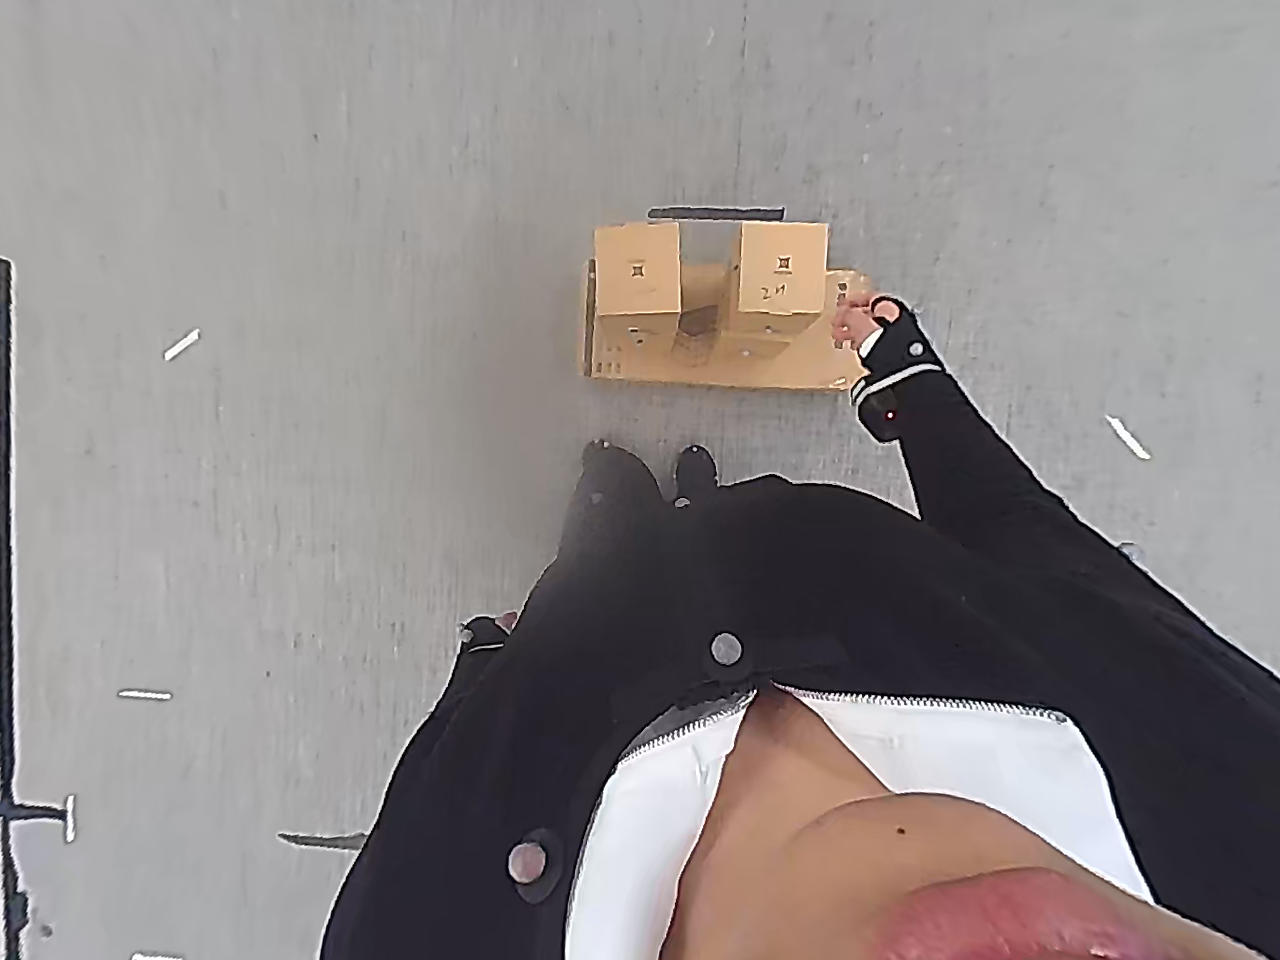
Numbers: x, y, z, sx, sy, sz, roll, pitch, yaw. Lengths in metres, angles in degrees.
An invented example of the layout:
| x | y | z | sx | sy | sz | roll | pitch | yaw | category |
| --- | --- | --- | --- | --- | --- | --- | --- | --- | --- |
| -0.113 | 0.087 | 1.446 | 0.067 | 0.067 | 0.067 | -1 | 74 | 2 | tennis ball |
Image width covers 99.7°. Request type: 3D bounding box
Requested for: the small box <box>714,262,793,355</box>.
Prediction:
| x | y | z | sx | sy | sz | roll | pitch | yaw | category |
| --- | --- | --- | --- | --- | --- | --- | --- | --- | --- |
| 0.273 | -0.408 | 1.285 | 0.168 | 0.176 | 0.179 | 7 | 93 | 2 | small box |

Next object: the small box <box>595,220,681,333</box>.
| x | y | z | sx | sy | sz | roll | pitch | yaw | category |
| --- | --- | --- | --- | --- | --- | --- | --- | --- | --- |
| -0.003 | -0.417 | 1.127 | 0.168 | 0.176 | 0.179 | -3 | 93 | 2 | small box |

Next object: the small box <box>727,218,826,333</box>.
| x | y | z | sx | sy | sz | roll | pitch | yaw | category |
| --- | --- | --- | --- | --- | --- | --- | --- | --- | --- |
| 0.274 | -0.415 | 1.118 | 0.168 | 0.176 | 0.179 | 2 | 93 | 2 | small box |

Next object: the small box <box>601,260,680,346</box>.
| x | y | z | sx | sy | sz | roll | pitch | yaw | category |
| --- | --- | --- | --- | --- | --- | --- | --- | --- | --- |
| 0.005 | -0.424 | 1.290 | 0.168 | 0.176 | 0.179 | 5 | 93 | 2 | small box |
